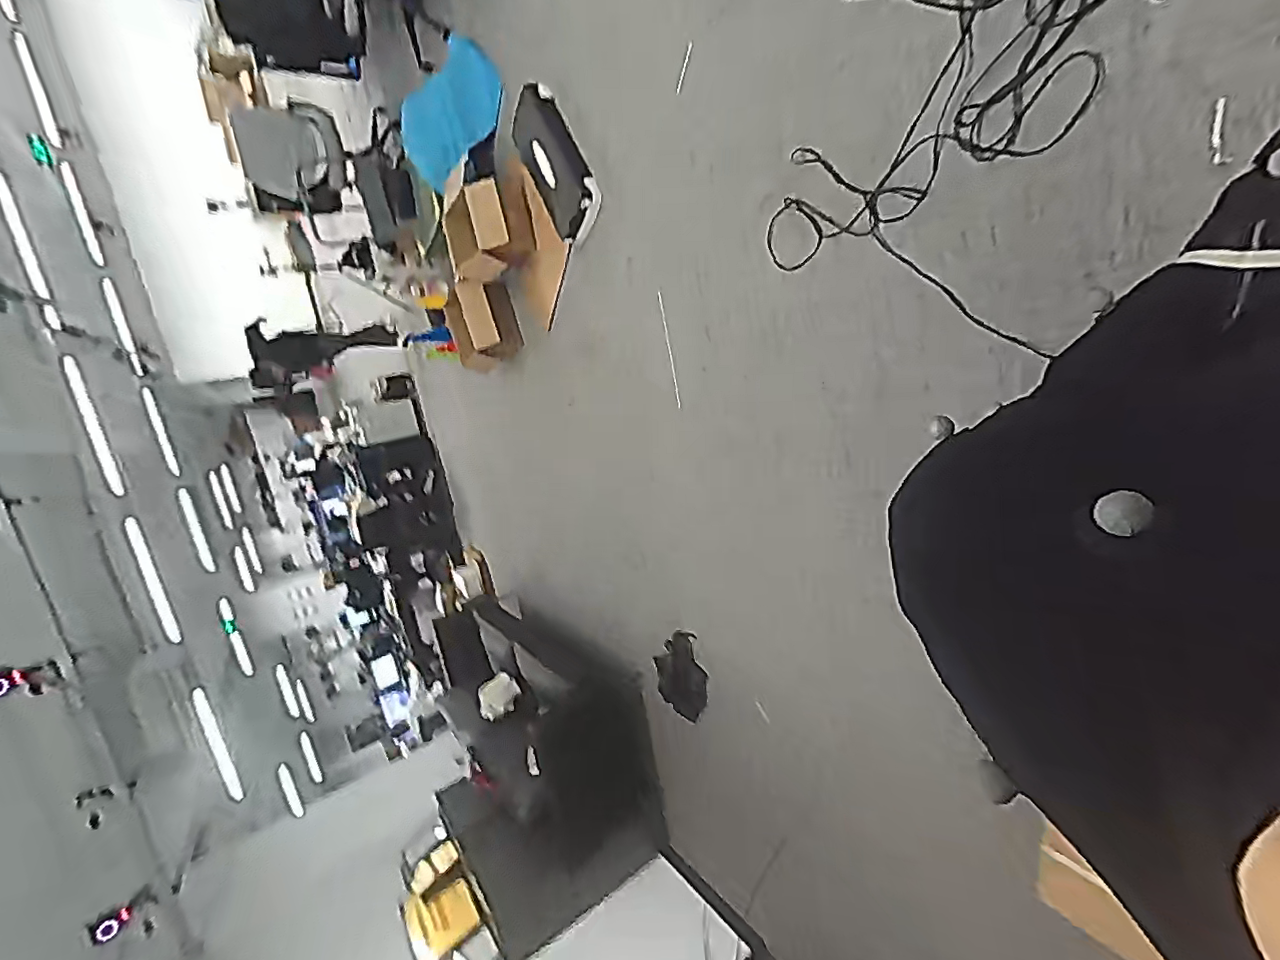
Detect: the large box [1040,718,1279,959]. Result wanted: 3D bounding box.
[{"bbox_3d":[1.083,0.754,1.044,0.408,0.320,0.320,19,120,54],"label":"large box"}]
